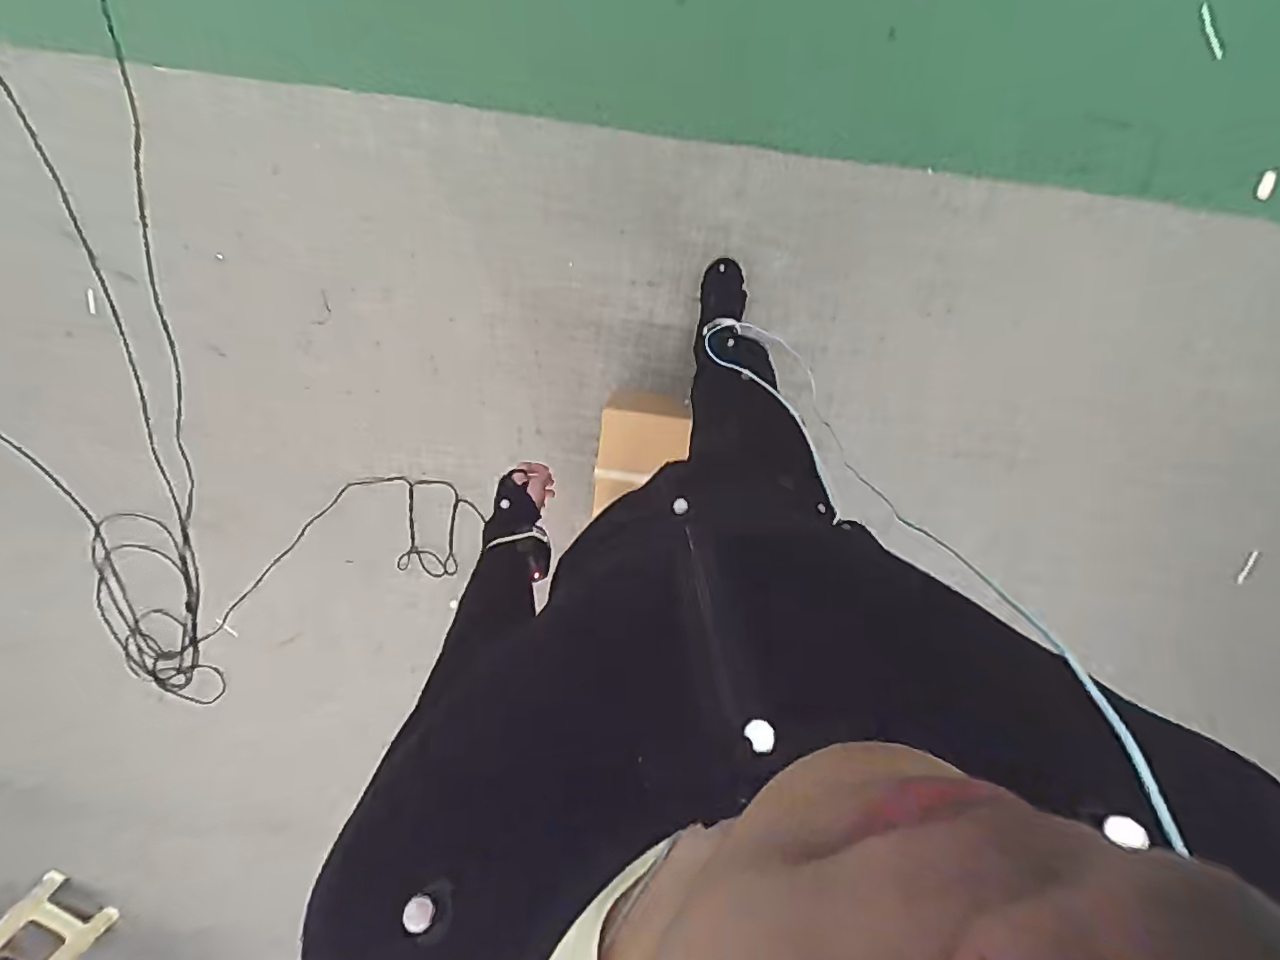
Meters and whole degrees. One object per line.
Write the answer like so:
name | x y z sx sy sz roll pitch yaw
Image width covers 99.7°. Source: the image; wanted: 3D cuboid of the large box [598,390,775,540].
large box | 0.110 -0.057 1.448 0.408 0.320 0.320 7 108 1
